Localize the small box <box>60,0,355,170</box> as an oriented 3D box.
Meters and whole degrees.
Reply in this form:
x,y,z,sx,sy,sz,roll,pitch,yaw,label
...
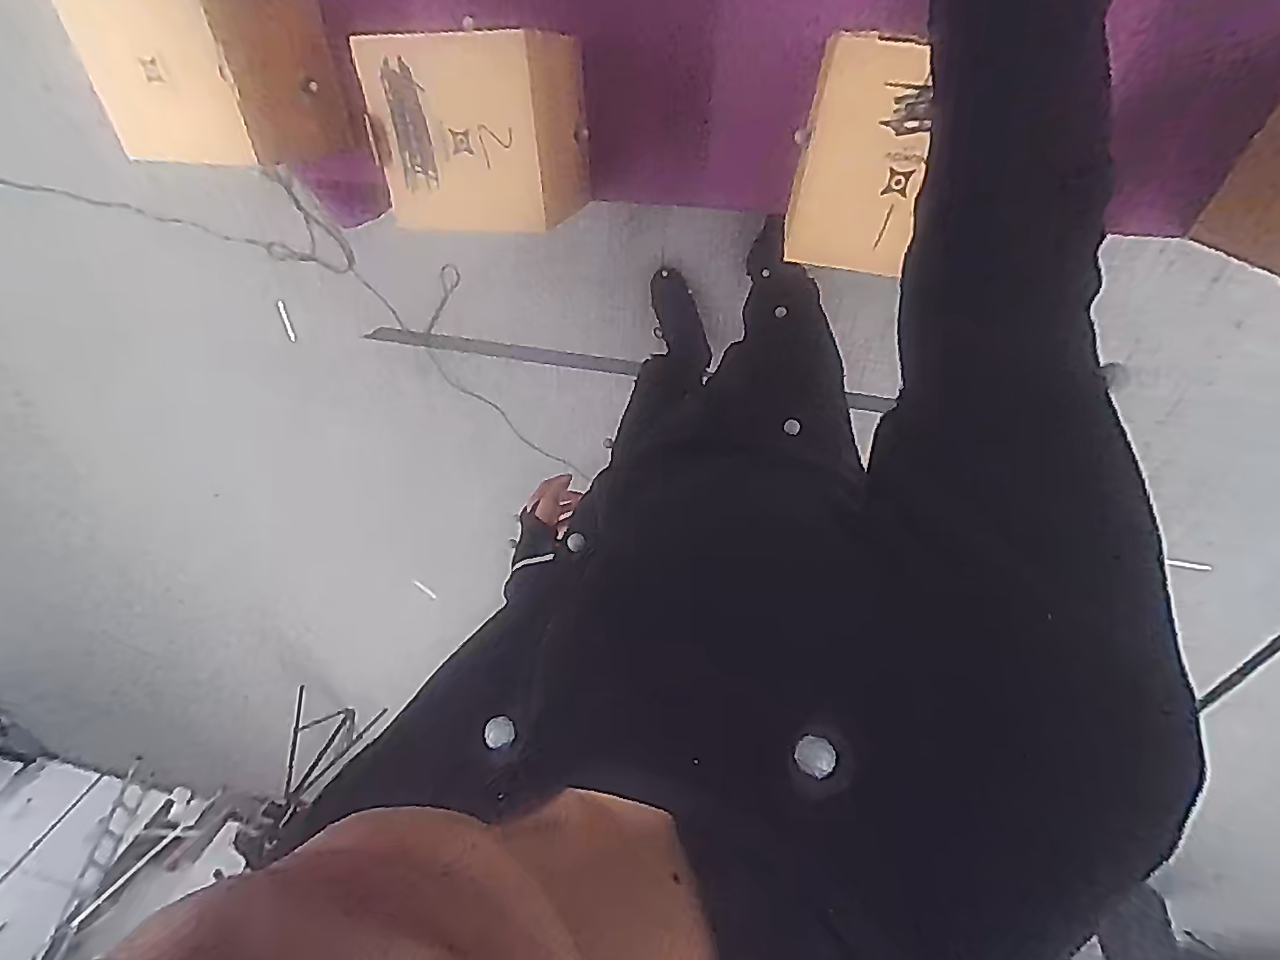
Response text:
x,y,z,sx,sy,sz,roll,pitch,yaw,label
-0.470,-0.461,0.615,0.179,0.176,0.168,8,128,9,small box

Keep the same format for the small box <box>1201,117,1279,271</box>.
x,y,z,sx,sy,sz,roll,pitch,yaw,label
0.651,-0.258,0.451,0.168,0.176,0.179,15,129,6,small box

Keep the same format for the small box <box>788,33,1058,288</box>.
x,y,z,sx,sy,sz,roll,pitch,yaw,label
0.246,-0.312,0.528,0.168,0.176,0.179,12,129,7,small box
